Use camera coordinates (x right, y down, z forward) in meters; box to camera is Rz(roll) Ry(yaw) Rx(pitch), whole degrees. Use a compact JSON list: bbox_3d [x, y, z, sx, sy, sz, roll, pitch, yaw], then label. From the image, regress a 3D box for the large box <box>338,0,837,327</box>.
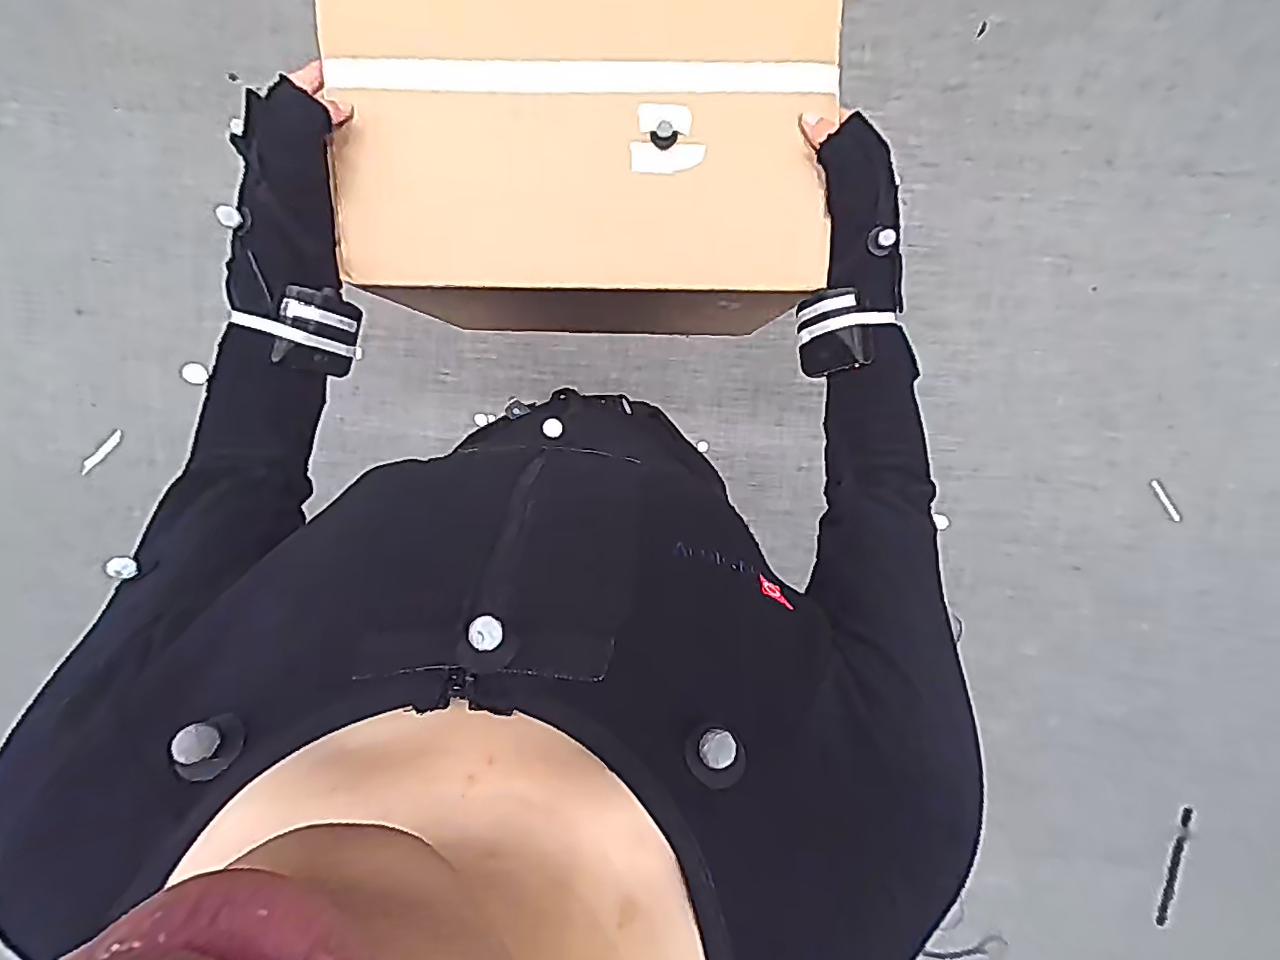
[{"bbox_3d":[-0.044,-0.345,0.583,0.408,0.320,0.320,1,99,0],"label":"large box"}]
